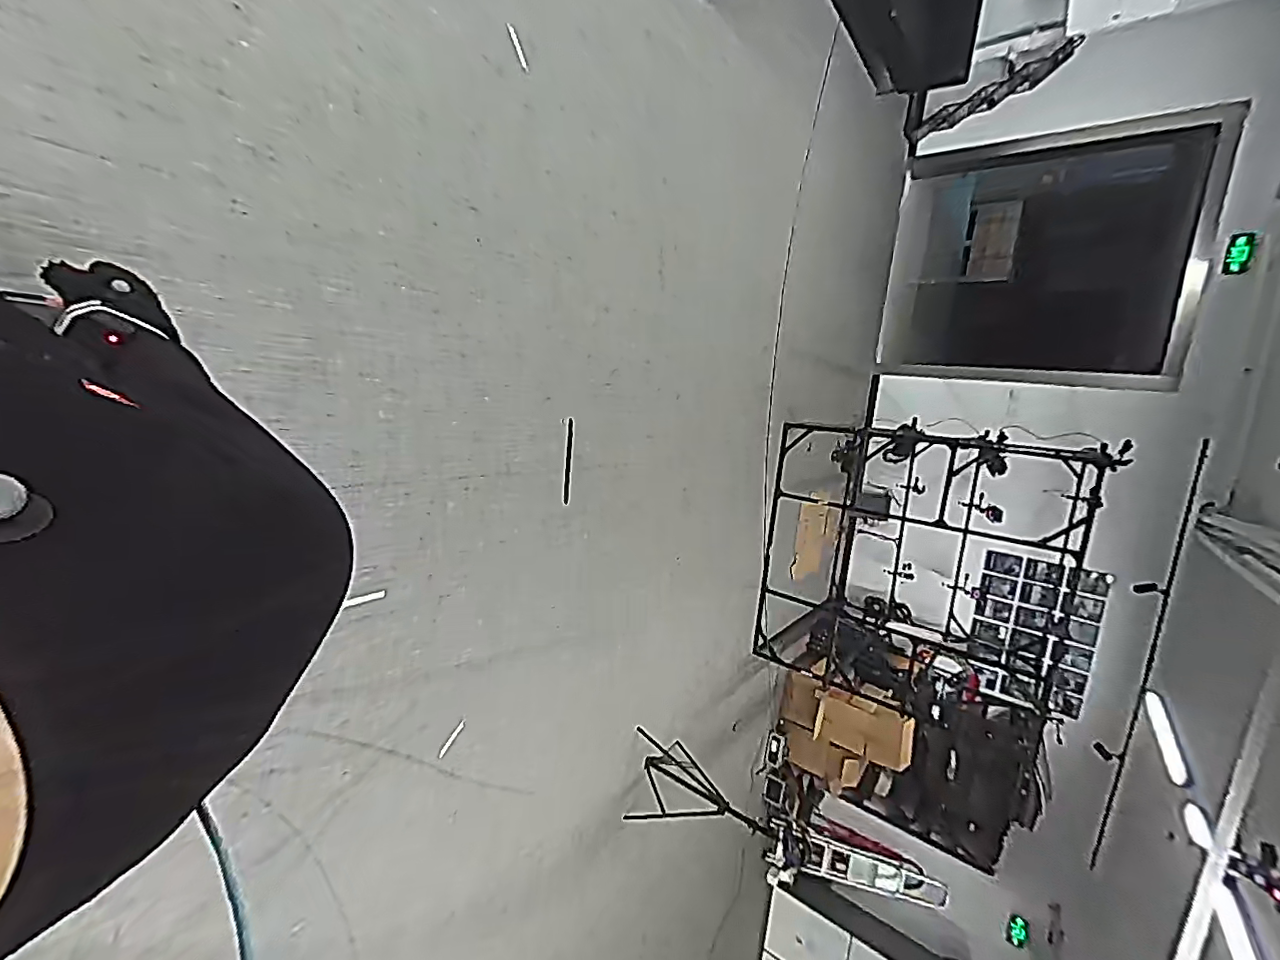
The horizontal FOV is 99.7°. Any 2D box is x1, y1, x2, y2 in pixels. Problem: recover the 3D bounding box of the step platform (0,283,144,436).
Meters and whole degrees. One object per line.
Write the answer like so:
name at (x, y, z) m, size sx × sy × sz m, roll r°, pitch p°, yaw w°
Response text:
step platform at (-1.308, -0.219, 0.919) m, size 0.684 × 0.204 × 0.286 m, roll -9°, pitch 107°, yaw -54°
